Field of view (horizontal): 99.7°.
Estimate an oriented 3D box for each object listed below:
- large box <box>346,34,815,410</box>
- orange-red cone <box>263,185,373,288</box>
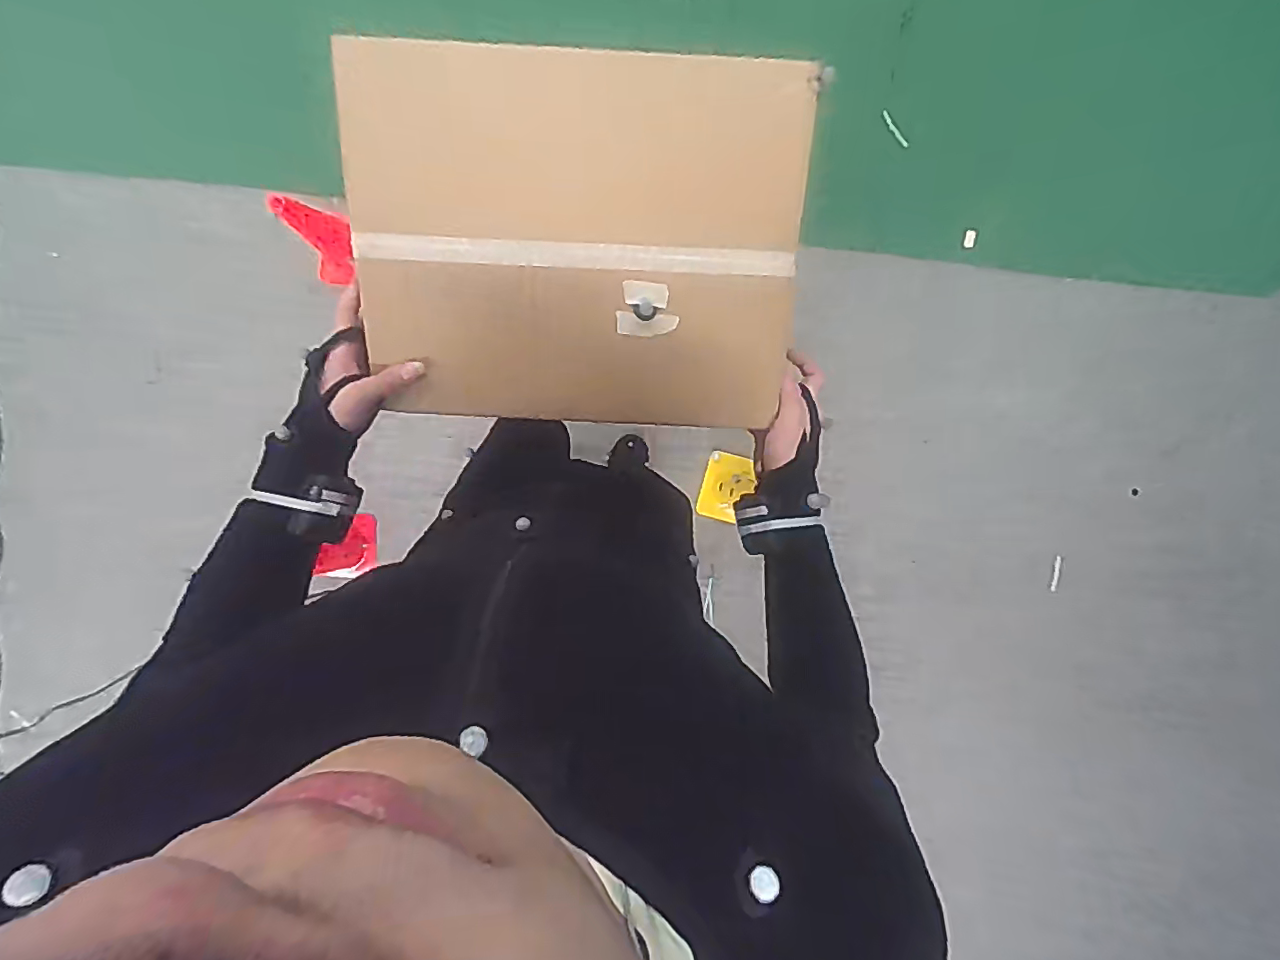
[{"bbox_3d":[-0.057,-0.270,0.643,0.408,0.320,0.320,2,110,-1],"label":"large box"},{"bbox_3d":[-0.821,-0.649,1.374,0.199,0.360,0.198,13,95,0],"label":"orange-red cone"}]
